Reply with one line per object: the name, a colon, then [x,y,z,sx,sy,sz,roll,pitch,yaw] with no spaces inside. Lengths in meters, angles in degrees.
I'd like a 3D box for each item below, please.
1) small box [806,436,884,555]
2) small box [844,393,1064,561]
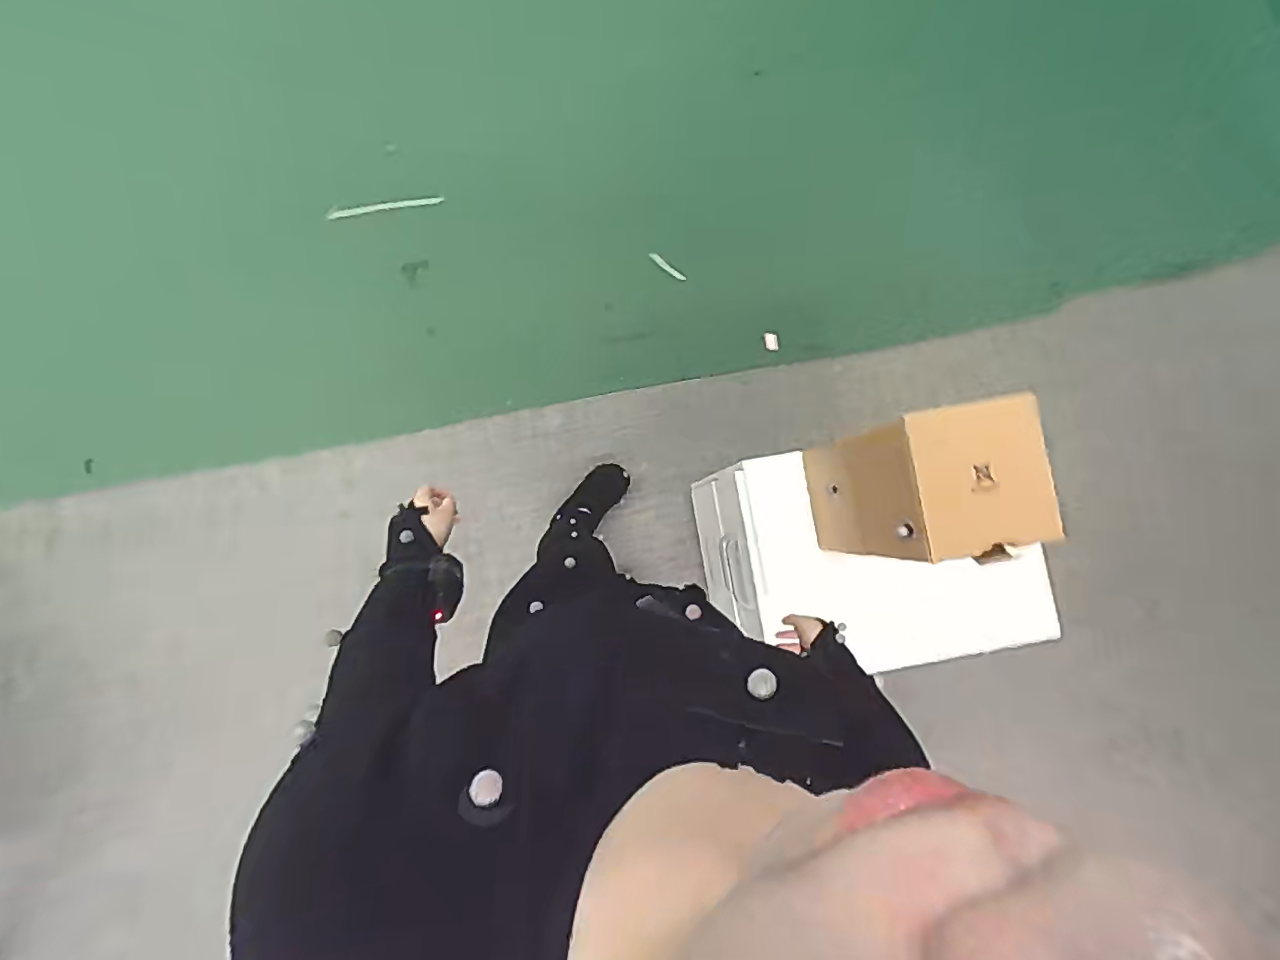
small box: [0.380,0.018,0.858,0.168,0.176,0.179,-9,86,-5]
small box: [0.385,0.002,0.695,0.168,0.176,0.179,-9,87,-5]
